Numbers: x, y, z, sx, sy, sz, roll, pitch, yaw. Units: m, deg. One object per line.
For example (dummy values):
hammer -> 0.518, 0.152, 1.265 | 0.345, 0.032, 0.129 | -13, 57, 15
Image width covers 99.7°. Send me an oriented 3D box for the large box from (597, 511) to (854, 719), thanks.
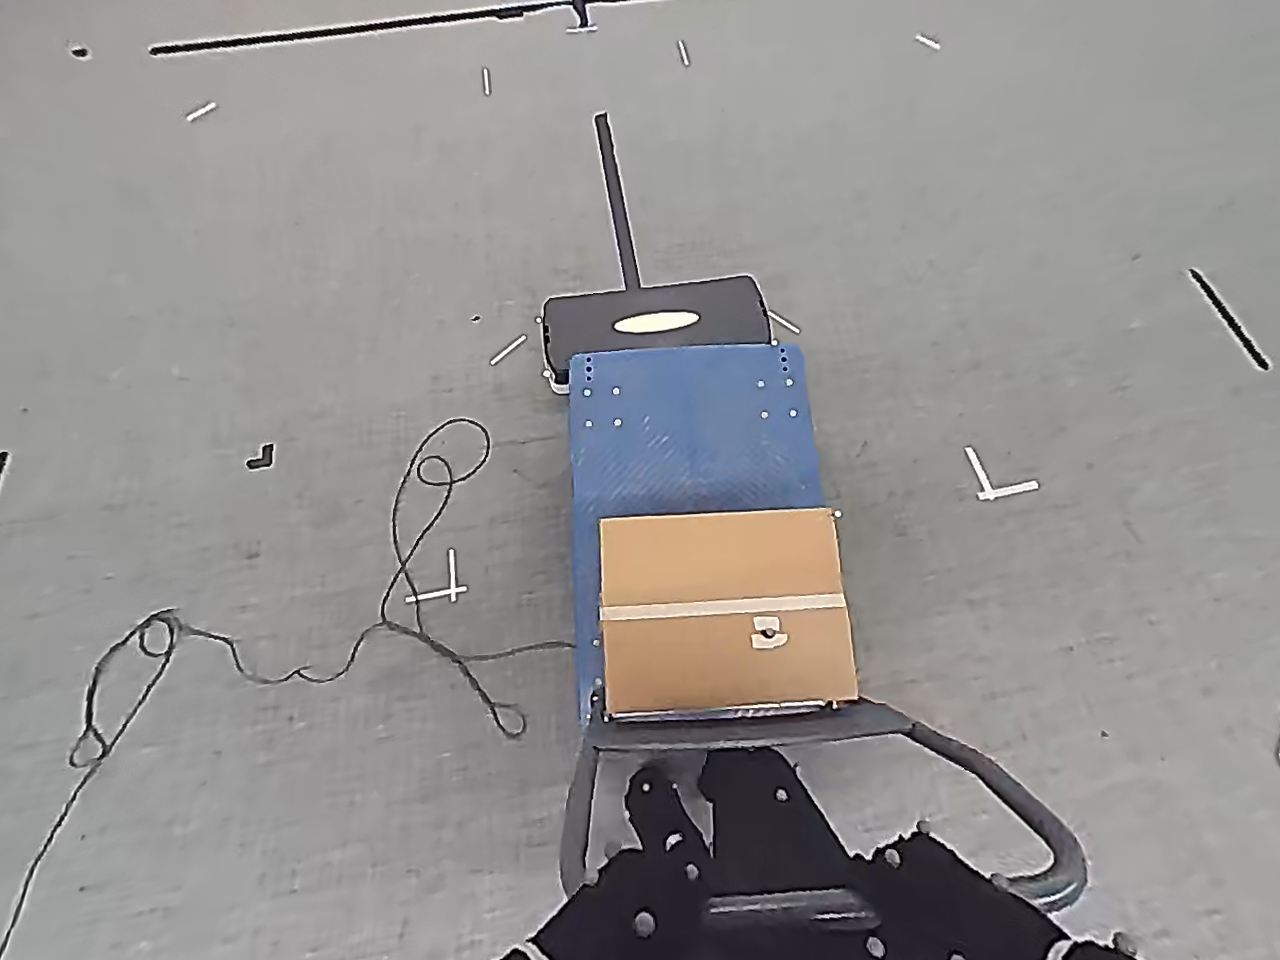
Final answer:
large box -> 0.131, 0.248, 1.033 | 0.408, 0.320, 0.320 | -3, 78, -2
